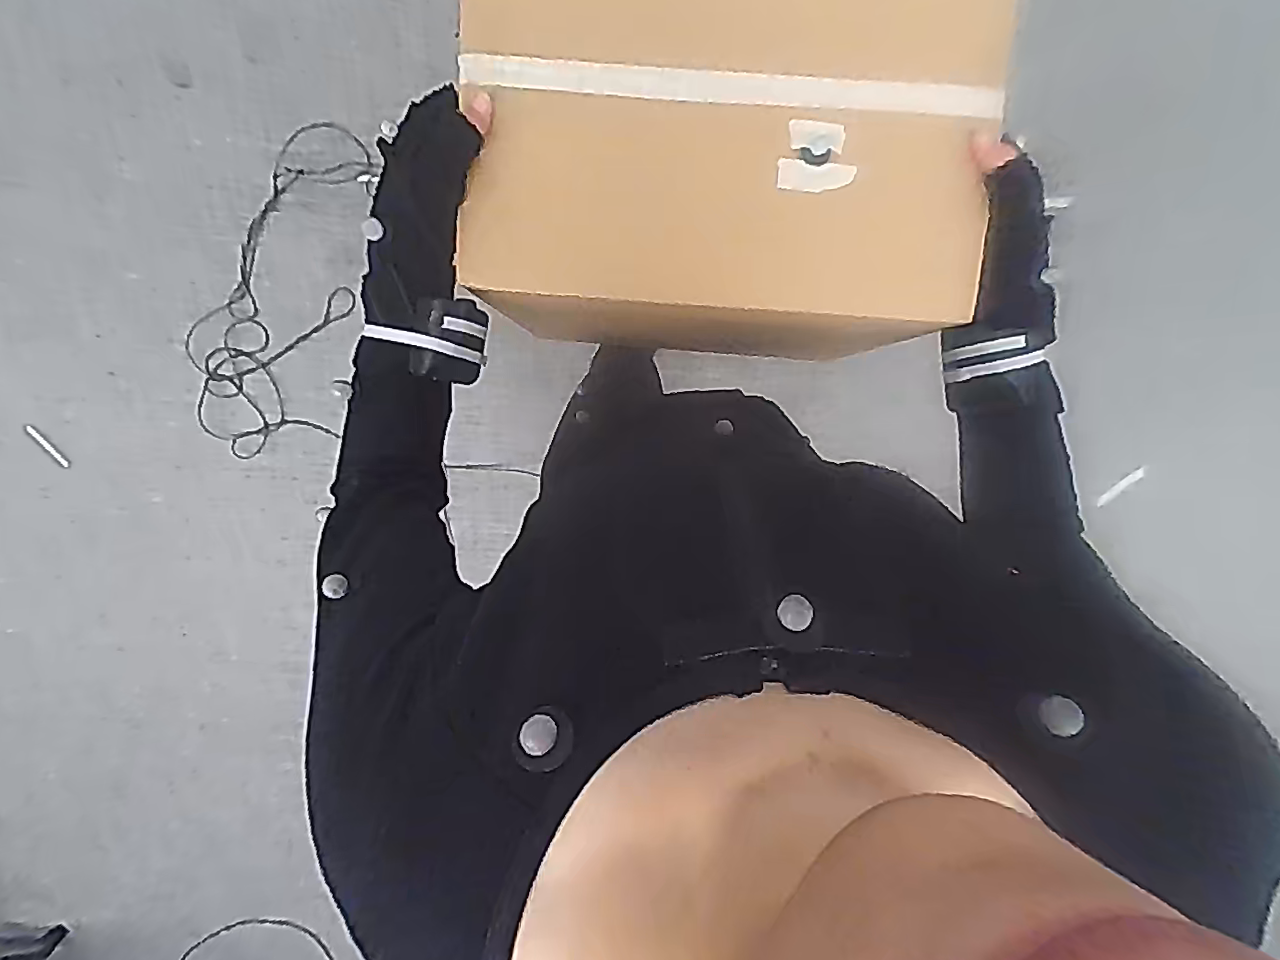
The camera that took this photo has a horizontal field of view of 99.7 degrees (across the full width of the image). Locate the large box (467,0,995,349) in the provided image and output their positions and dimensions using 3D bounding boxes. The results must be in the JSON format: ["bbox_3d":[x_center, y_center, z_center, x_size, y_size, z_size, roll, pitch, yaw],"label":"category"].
[{"bbox_3d":[0.065,-0.321,0.564,0.408,0.320,0.320,4,97,0],"label":"large box"}]
